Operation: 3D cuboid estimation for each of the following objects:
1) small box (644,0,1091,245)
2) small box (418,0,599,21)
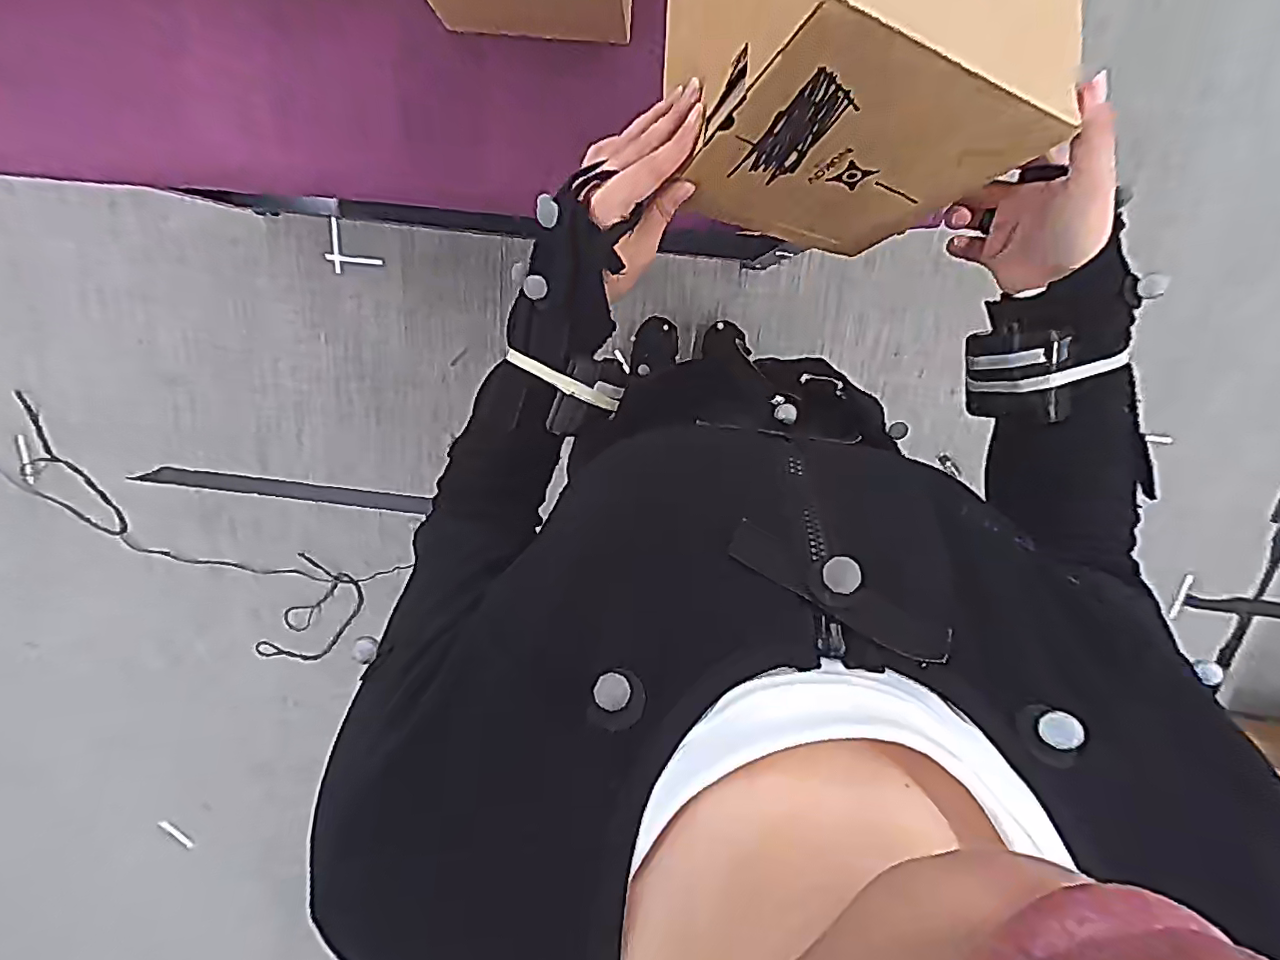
[{"bbox_3d":[0.112,-0.287,0.330,0.179,0.168,0.176,8,69,-21],"label":"small box"},{"bbox_3d":[-0.110,-0.474,0.393,0.179,0.176,0.168,2,107,1],"label":"small box"}]
